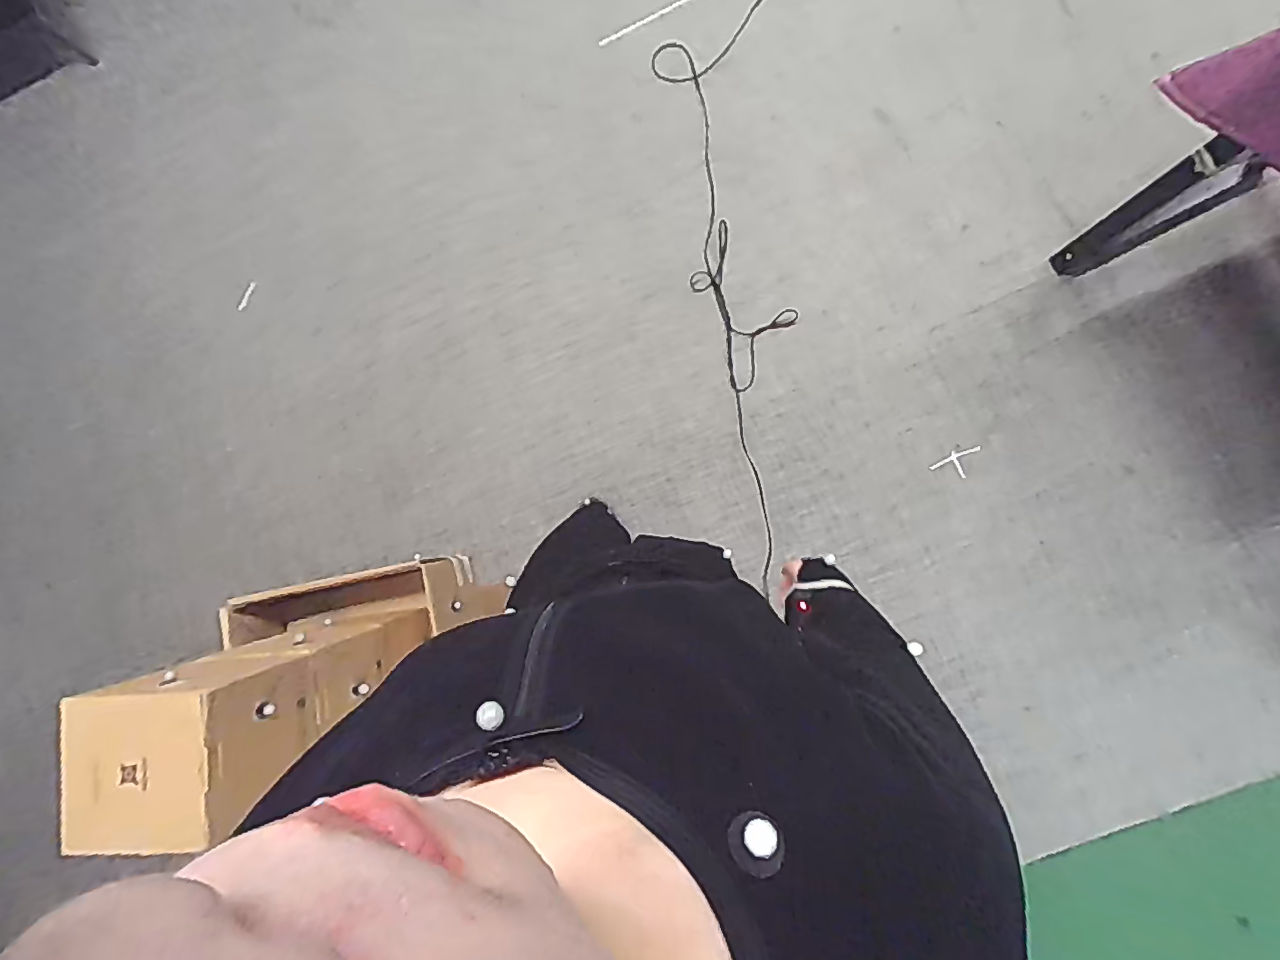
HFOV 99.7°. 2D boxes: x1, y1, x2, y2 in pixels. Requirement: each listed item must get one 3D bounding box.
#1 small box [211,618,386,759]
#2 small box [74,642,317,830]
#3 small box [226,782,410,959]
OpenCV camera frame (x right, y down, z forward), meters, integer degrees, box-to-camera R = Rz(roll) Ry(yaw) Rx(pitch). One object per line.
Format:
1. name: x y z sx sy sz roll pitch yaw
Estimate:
1. small box: -0.512 0.312 0.833 0.179 0.176 0.168 -5 85 6
2. small box: -0.533 0.302 0.671 0.179 0.176 0.168 -4 85 8
3. small box: -0.469 0.590 0.812 0.168 0.176 0.179 -13 83 6
